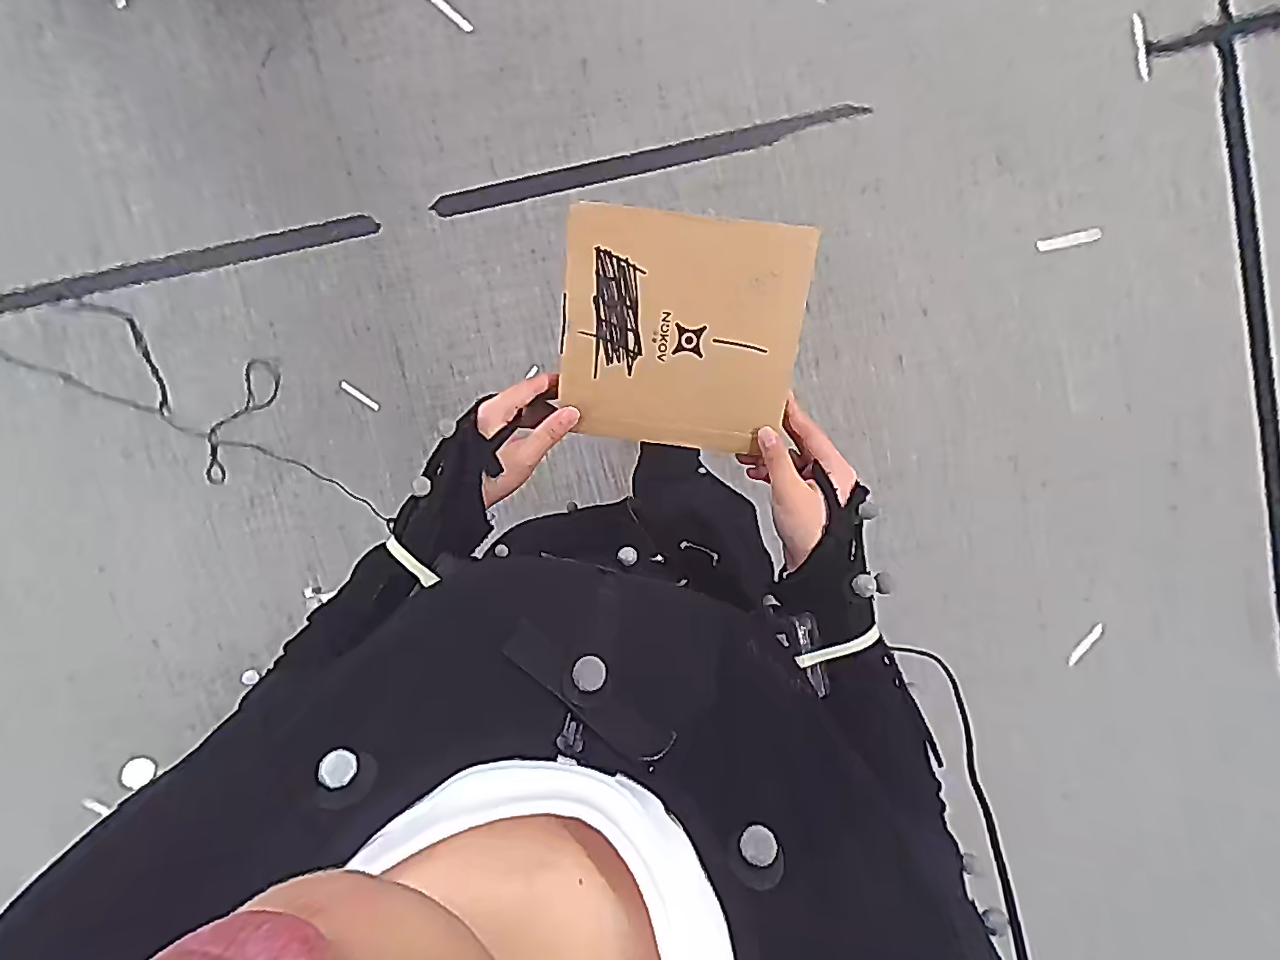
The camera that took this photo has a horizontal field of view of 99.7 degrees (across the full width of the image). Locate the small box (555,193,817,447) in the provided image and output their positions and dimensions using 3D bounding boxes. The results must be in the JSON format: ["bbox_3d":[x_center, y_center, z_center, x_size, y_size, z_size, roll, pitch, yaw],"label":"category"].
[{"bbox_3d":[0.037,-0.138,0.471,0.179,0.176,0.168,7,109,5],"label":"small box"}]
